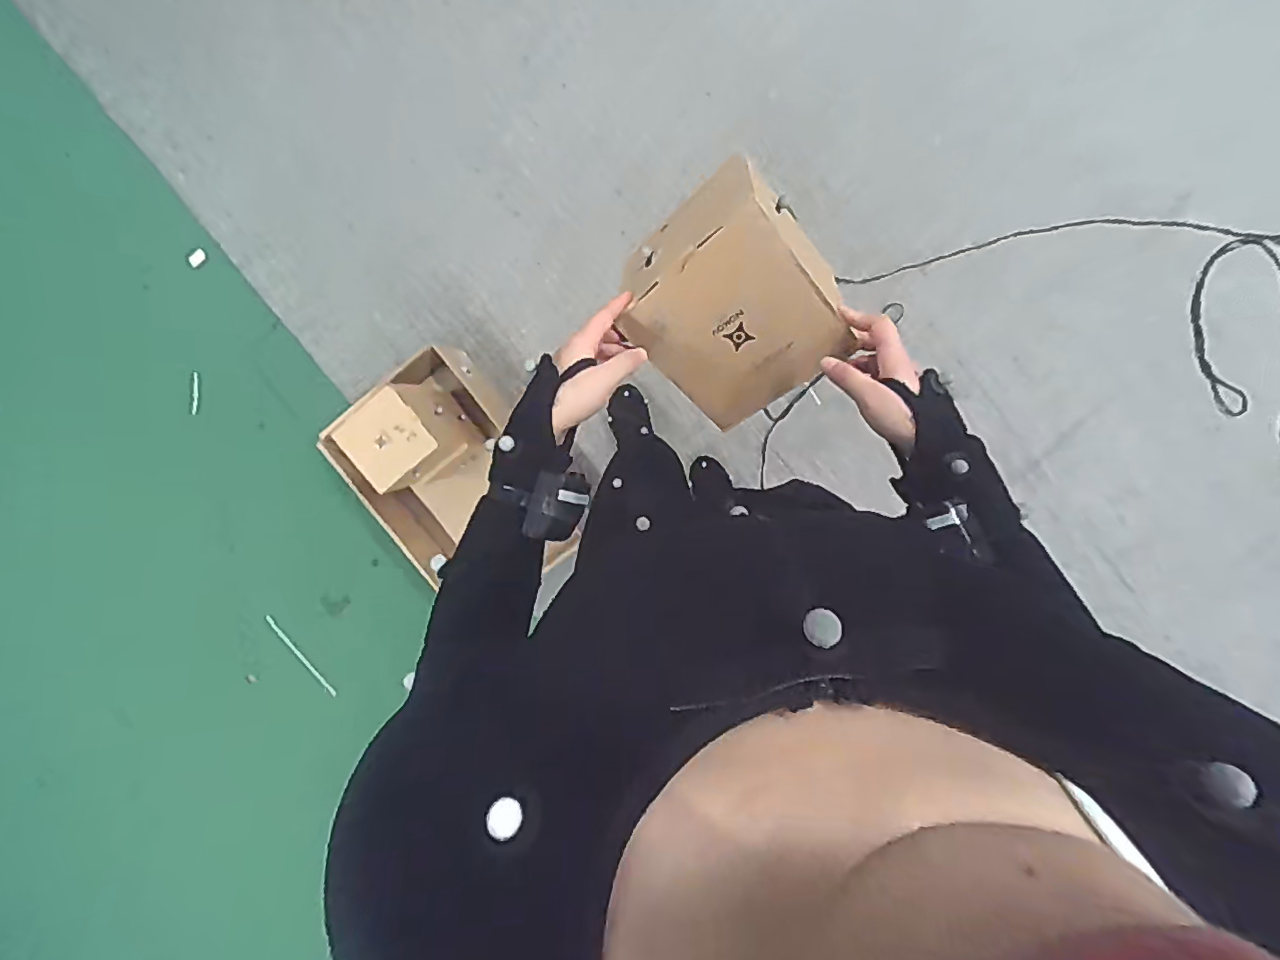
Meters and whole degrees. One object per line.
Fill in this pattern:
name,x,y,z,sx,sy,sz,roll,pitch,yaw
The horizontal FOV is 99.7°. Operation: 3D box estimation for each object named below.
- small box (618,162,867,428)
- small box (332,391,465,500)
small box,0.100,-0.195,0.561,0.179,0.176,0.168,38,126,-27
small box,-0.528,-0.080,1.207,0.179,0.176,0.168,-38,94,7
